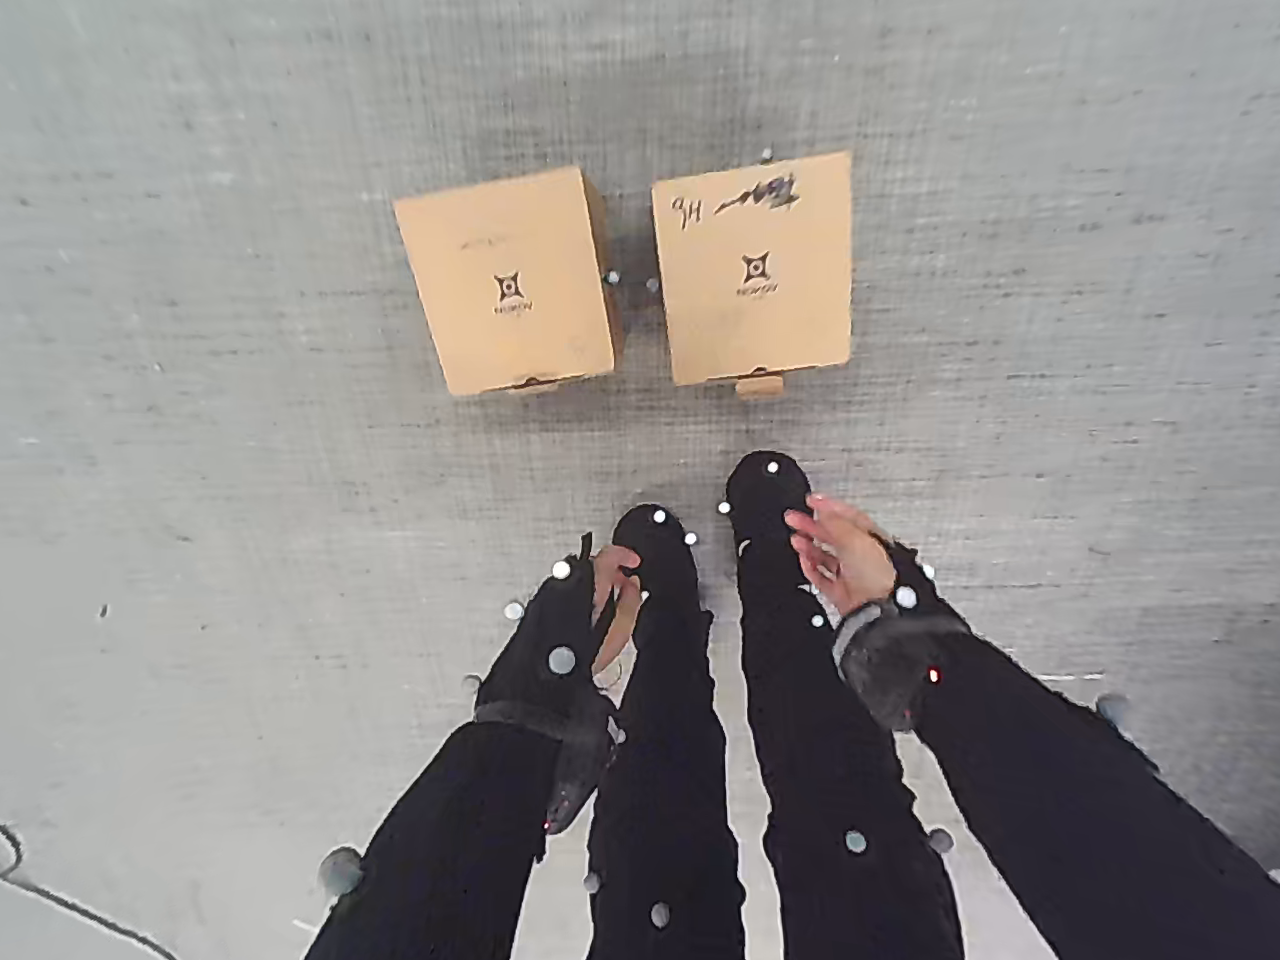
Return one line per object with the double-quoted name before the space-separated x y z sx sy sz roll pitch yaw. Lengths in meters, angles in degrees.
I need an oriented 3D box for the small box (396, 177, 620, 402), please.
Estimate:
"small box" -0.118 -0.197 0.569 0.168 0.176 0.179 -9 111 4
